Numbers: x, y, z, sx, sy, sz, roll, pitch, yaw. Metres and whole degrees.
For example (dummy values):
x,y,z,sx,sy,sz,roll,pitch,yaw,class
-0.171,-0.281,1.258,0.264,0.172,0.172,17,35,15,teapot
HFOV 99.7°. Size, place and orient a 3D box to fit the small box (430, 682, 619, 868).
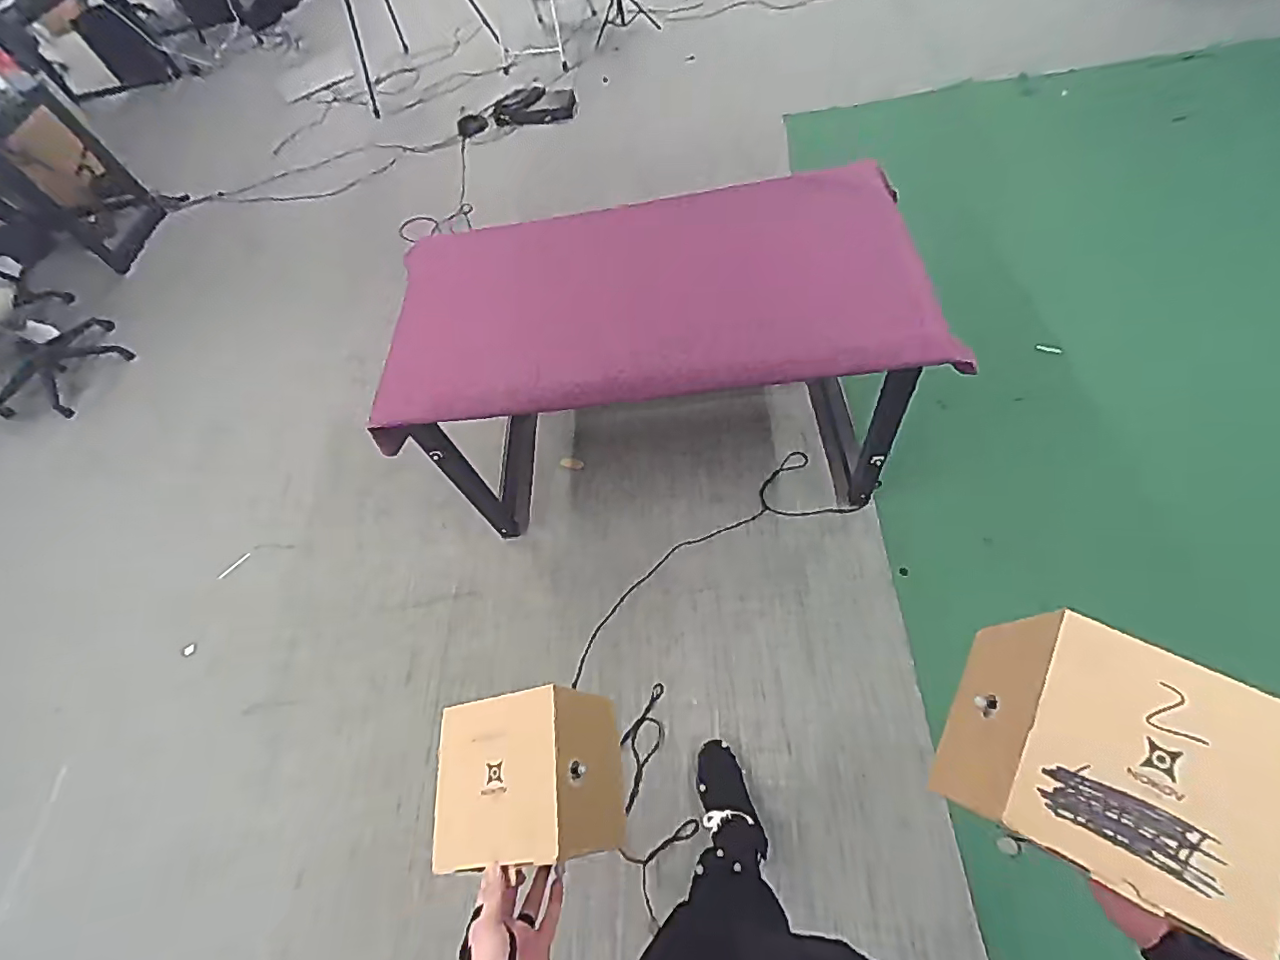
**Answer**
x,y,z,sx,sy,sz,roll,pitch,yaw,class
-0.135,0.368,0.682,0.168,0.176,0.179,-18,57,17,small box
